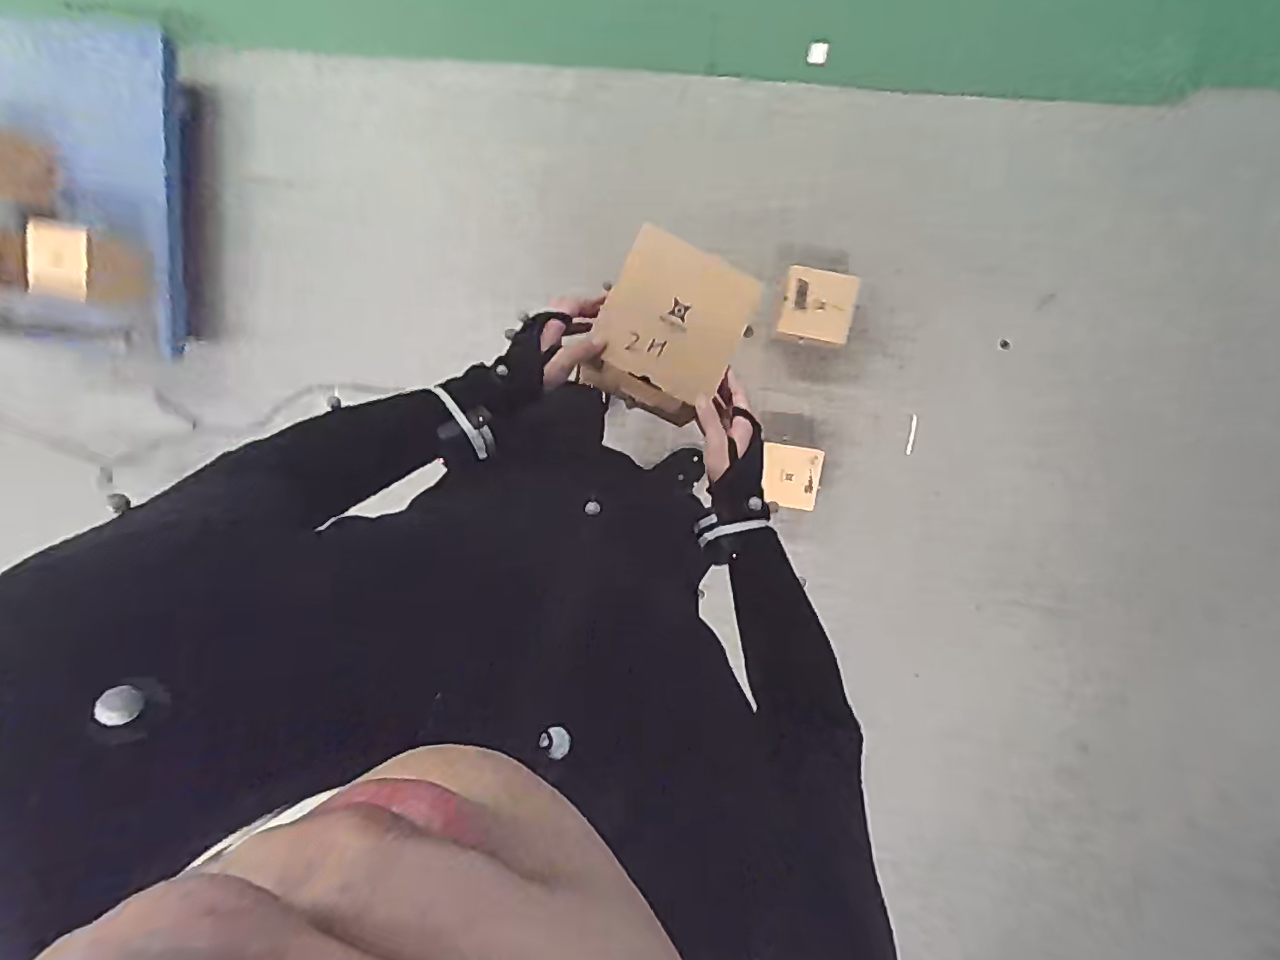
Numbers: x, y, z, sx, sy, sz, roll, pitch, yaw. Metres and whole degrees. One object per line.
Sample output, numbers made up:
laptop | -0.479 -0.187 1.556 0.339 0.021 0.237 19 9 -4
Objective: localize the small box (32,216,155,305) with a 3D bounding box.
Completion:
small box | -1.446 -0.574 1.438 0.168 0.176 0.179 11 100 4

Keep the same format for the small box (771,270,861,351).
small box | 0.461 -0.447 1.450 0.179 0.176 0.168 13 101 3

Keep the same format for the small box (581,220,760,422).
small box | 0.028 -0.194 0.717 0.168 0.176 0.179 25 86 -5

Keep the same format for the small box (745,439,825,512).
small box | 0.395 -0.019 1.508 0.179 0.176 0.168 10 100 5

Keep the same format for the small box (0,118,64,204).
small box | -1.689 -0.848 1.422 0.179 0.176 0.168 9 100 3
